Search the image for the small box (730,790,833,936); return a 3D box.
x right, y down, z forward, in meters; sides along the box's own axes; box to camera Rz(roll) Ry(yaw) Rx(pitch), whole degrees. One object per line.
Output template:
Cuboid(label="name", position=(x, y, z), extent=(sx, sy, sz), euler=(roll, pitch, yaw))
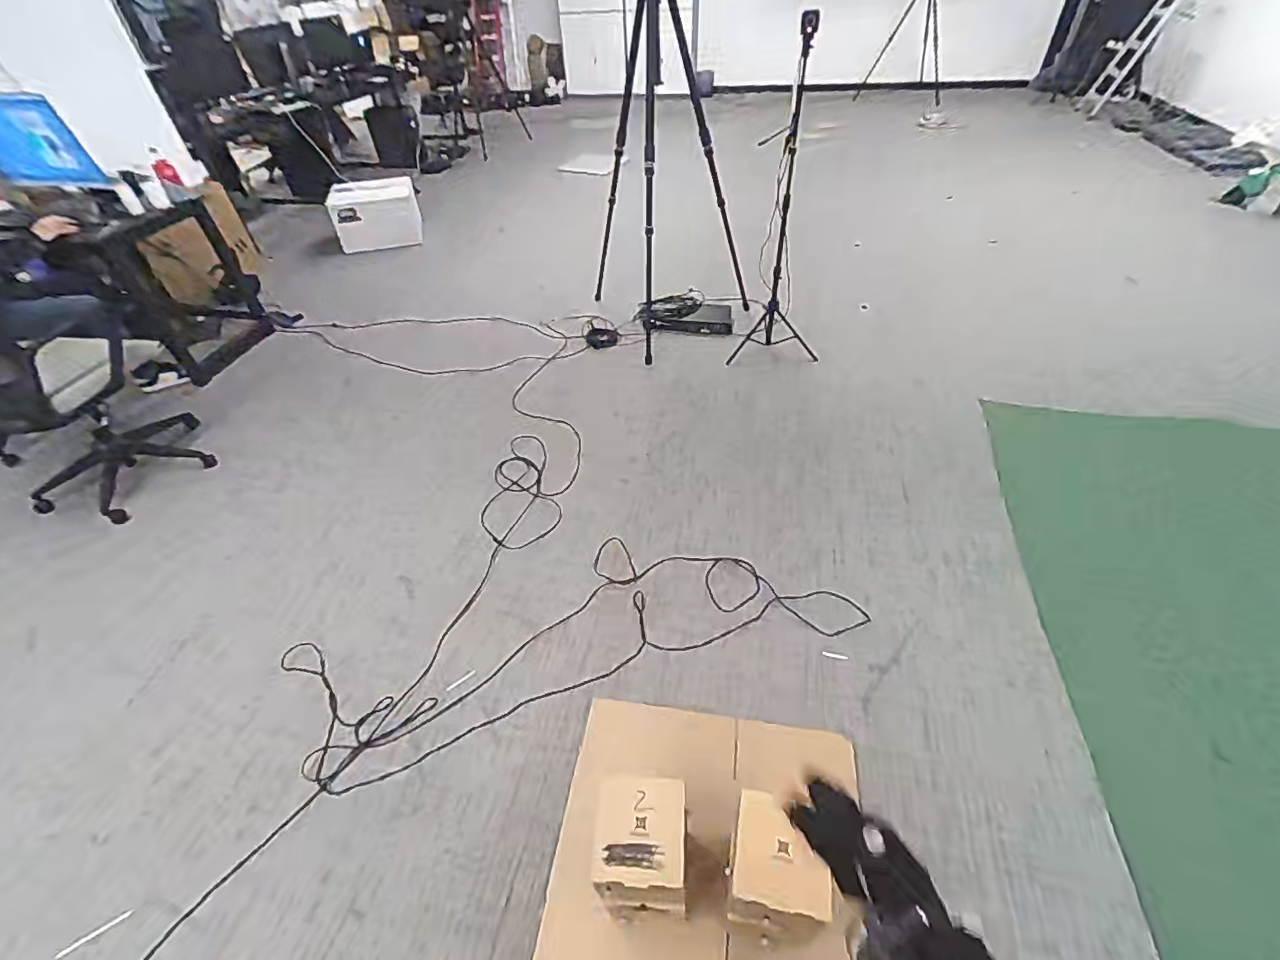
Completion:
Cuboid(label="small box", position=(0.261, 0.719, 1.015), extent=(0.168, 0.176, 0.179), euler=(6, 46, 12))

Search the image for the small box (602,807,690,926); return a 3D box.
Cuboid(label="small box", position=(0.020, 0.826, 1.154), extent=(0.168, 0.176, 0.179), euler=(1, 44, 6))

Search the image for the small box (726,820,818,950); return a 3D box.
Cuboid(label="small box", position=(0.269, 0.840, 1.123), extent=(0.168, 0.176, 0.179), euler=(3, 45, 10))
